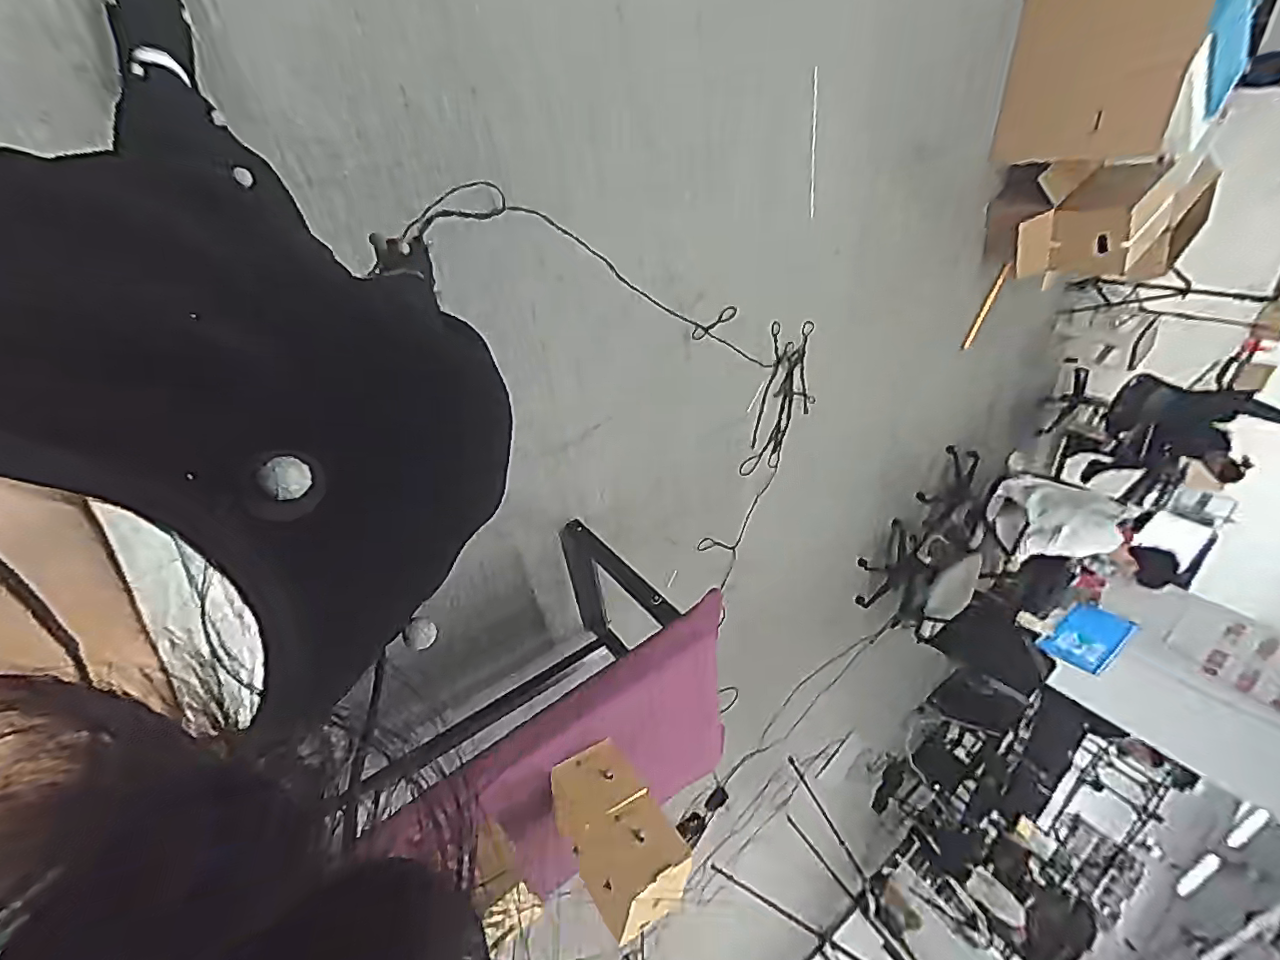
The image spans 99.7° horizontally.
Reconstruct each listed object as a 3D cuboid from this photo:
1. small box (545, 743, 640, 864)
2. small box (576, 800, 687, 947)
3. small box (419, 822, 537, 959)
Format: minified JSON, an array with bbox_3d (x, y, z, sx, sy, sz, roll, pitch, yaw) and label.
[{"bbox_3d":[-0.119,0.767,1.295,0.168,0.176,0.179,-15,123,-34],"label":"small box"},{"bbox_3d":[-0.026,0.840,1.181,0.168,0.176,0.179,-7,117,-37],"label":"small box"},{"bbox_3d":[-0.350,0.891,1.170,0.168,0.176,0.179,-30,129,-24],"label":"small box"}]
